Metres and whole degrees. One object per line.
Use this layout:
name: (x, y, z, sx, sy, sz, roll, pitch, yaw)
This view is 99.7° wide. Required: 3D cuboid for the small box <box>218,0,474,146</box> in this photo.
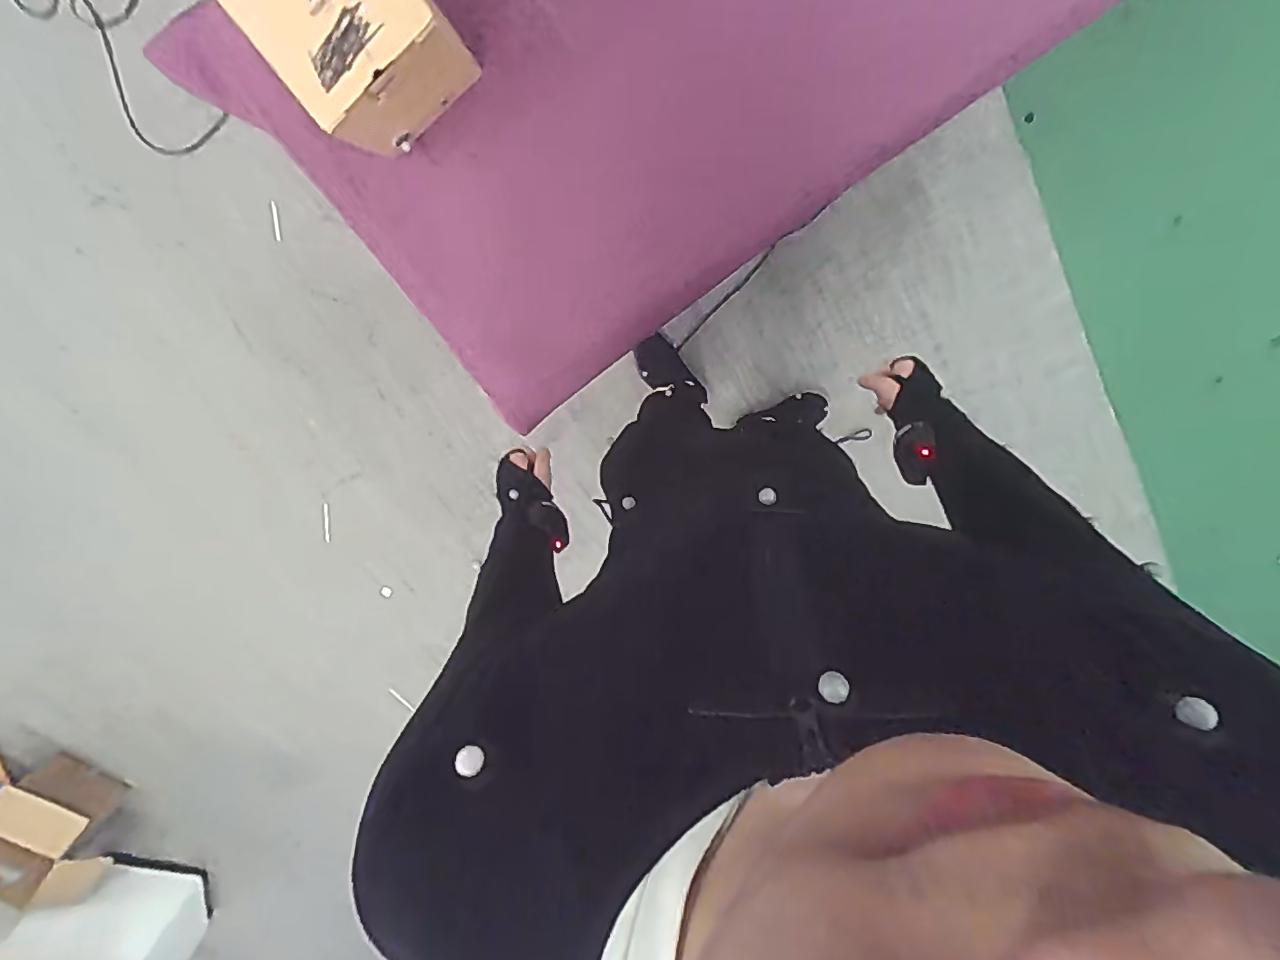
small box: (-0.318, -0.508, 0.604, 0.168, 0.176, 0.179, -34, 107, 14)
